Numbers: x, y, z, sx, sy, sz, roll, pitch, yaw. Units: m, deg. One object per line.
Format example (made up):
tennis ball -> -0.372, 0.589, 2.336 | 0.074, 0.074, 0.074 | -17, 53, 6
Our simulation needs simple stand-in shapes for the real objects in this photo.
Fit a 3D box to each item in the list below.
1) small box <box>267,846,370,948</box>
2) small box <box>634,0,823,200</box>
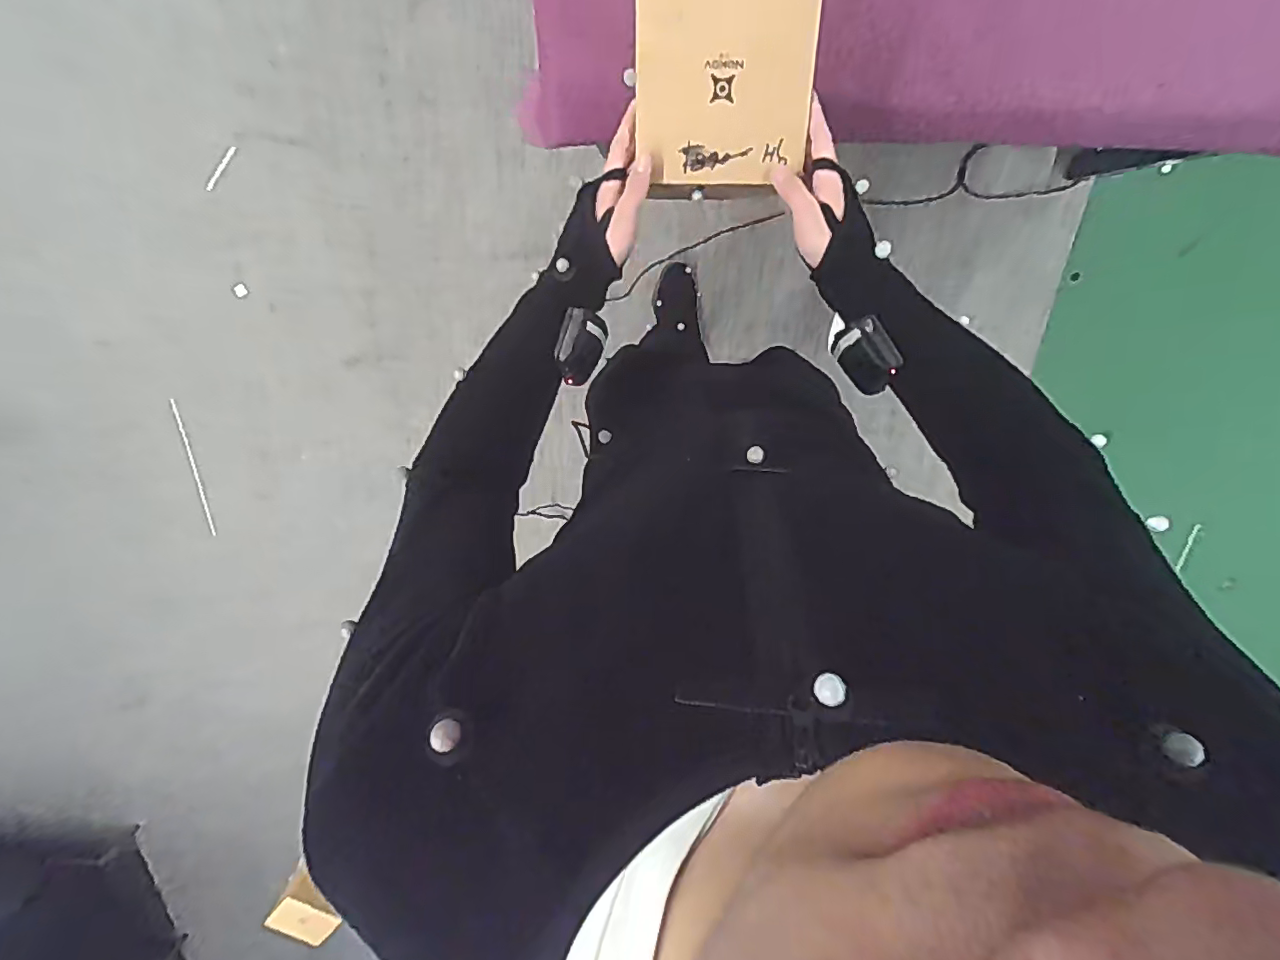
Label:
small box -> -0.968, 1.257, 1.642 | 0.179, 0.176, 0.168 | 36, 108, -13
small box -> 0.078, -0.400, 0.564 | 0.168, 0.176, 0.179 | 1, 113, 1
